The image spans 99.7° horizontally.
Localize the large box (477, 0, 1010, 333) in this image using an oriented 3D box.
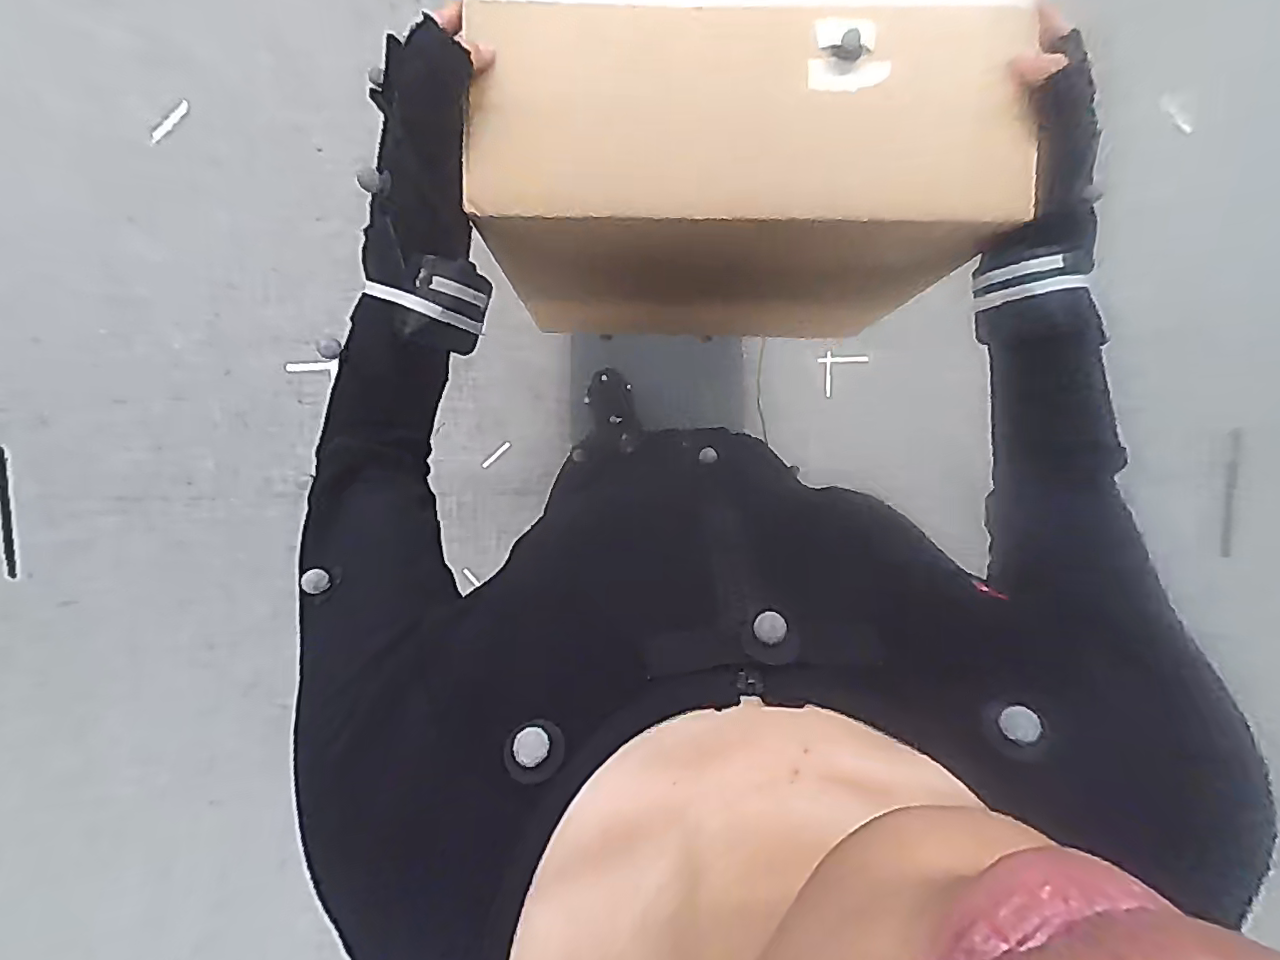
[{"bbox_3d":[0.073,-0.347,0.551,0.408,0.320,0.320,0,90,-1],"label":"large box"}]
